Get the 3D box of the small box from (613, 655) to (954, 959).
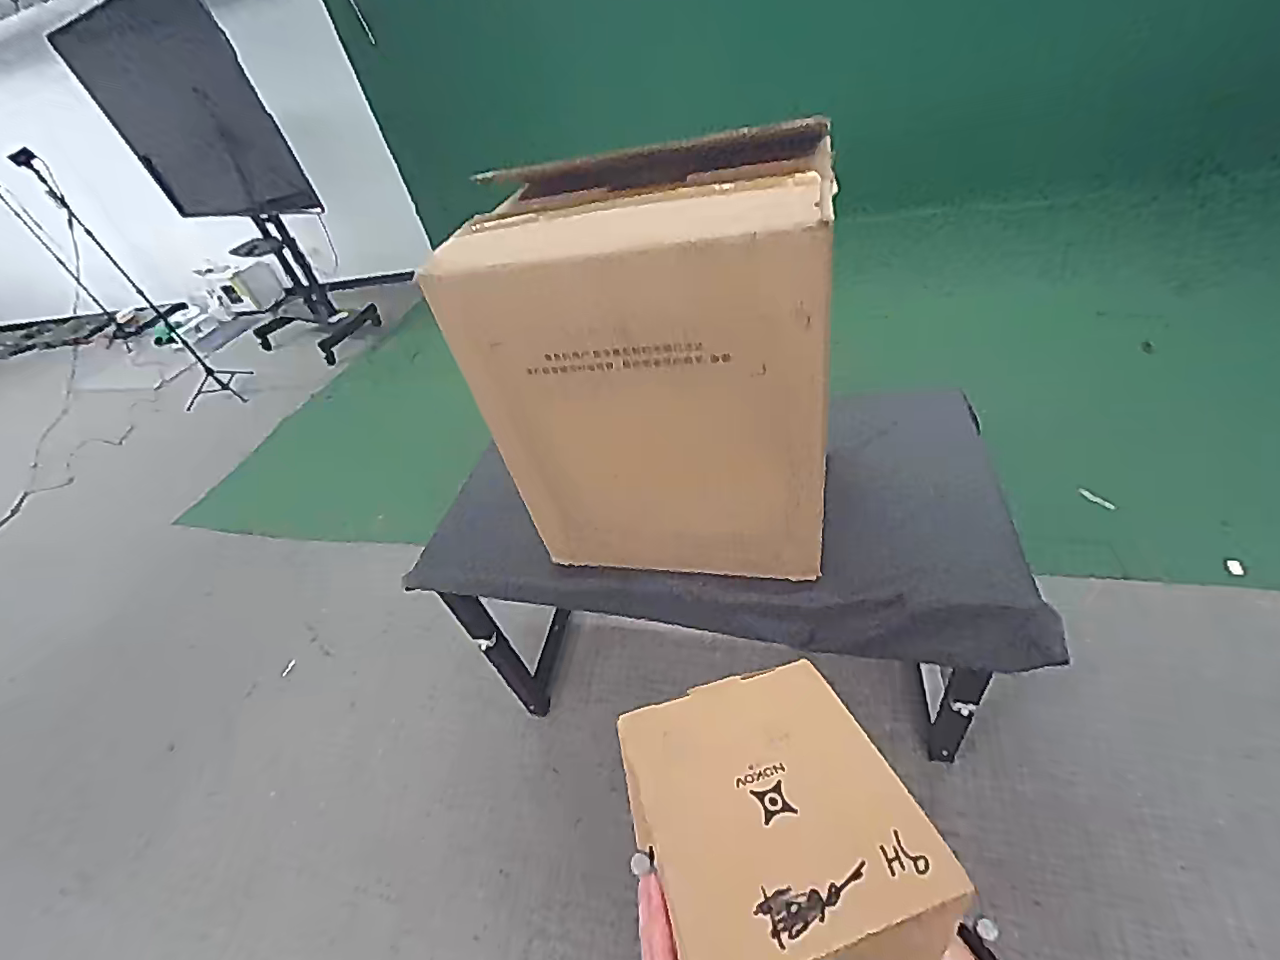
[{"bbox_3d":[0.084,0.269,0.399,0.168,0.176,0.179,-13,31,-11],"label":"small box"}]
